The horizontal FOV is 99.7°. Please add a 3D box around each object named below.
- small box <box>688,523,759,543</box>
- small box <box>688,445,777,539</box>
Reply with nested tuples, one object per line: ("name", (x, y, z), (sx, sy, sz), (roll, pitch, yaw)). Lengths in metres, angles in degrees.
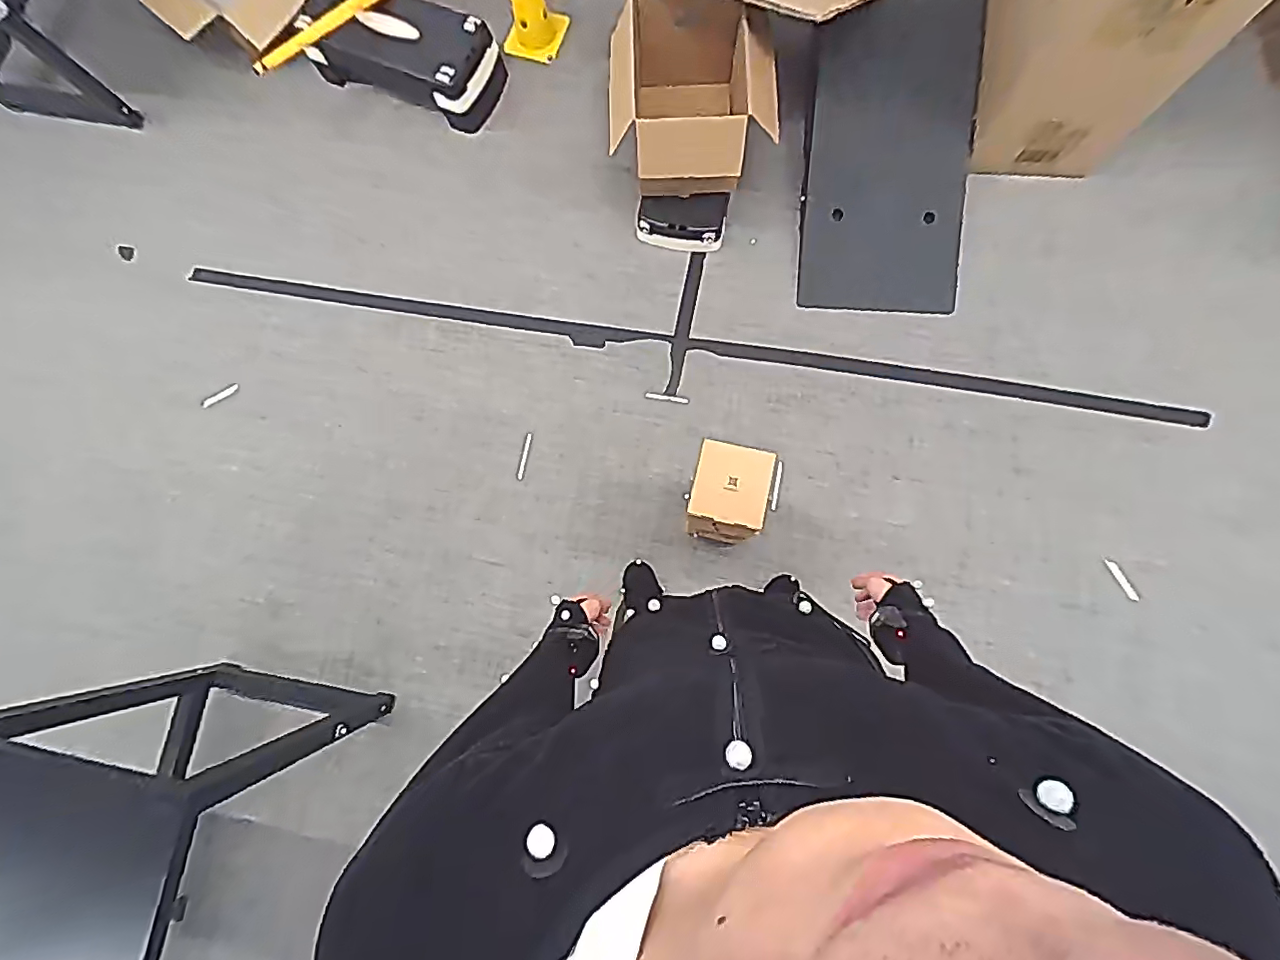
("small box", (0.226, 0.069, 1.418), (0.179, 0.176, 0.168), (11, 81, 4))
("small box", (0.208, 0.034, 1.260), (0.168, 0.176, 0.179), (12, 82, 5))
